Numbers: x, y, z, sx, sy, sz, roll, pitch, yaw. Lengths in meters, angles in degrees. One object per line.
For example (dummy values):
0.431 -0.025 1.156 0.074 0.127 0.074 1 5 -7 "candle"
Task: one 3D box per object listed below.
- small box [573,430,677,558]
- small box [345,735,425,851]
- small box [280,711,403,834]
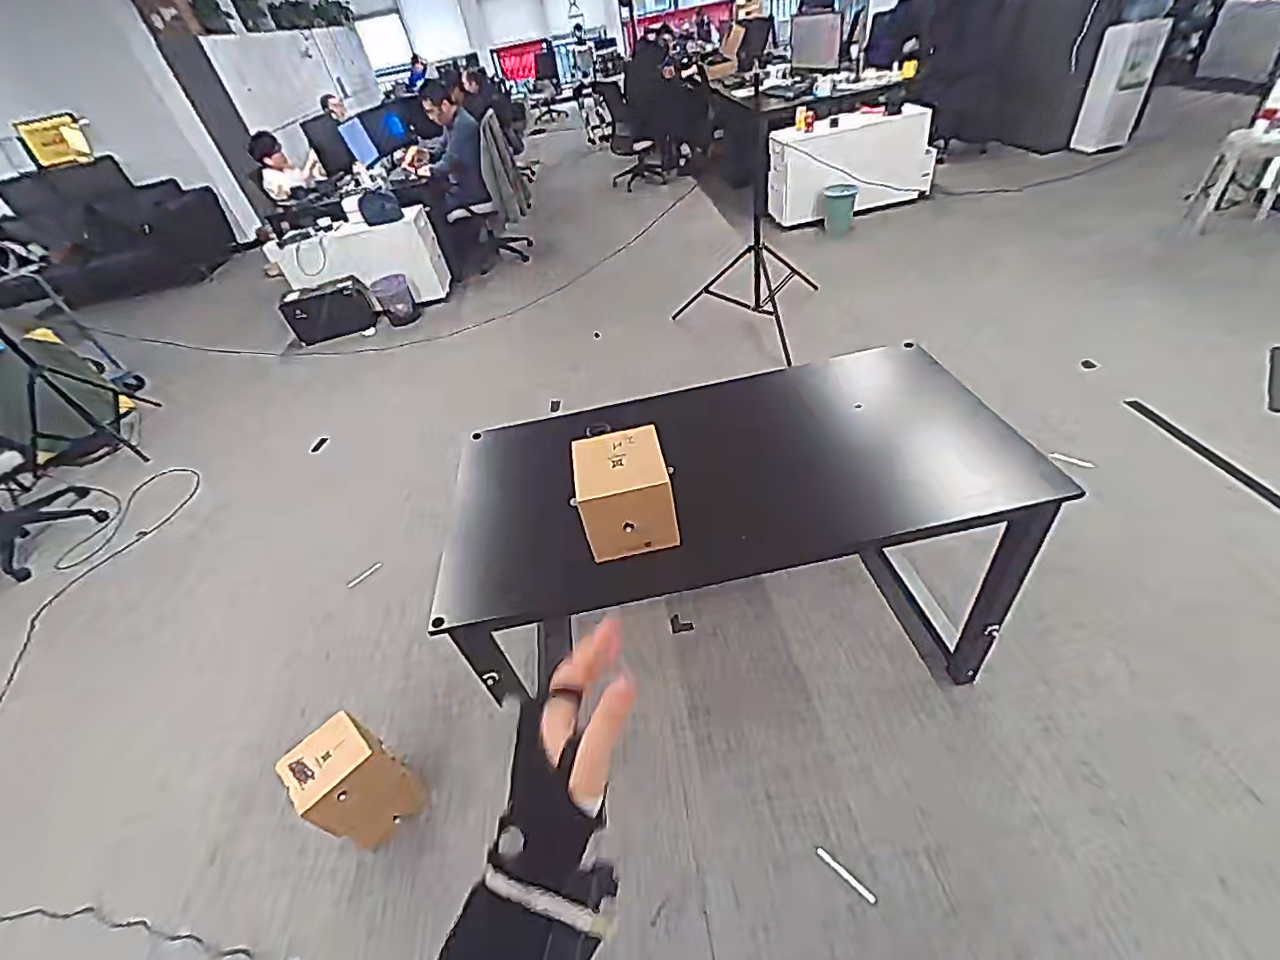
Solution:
-0.028 0.033 1.049 0.168 0.176 0.179 -12 41 0 "small box"
-0.697 0.827 1.430 0.168 0.176 0.179 25 52 35 "small box"
-0.716 0.712 1.311 0.168 0.176 0.179 27 54 35 "small box"
